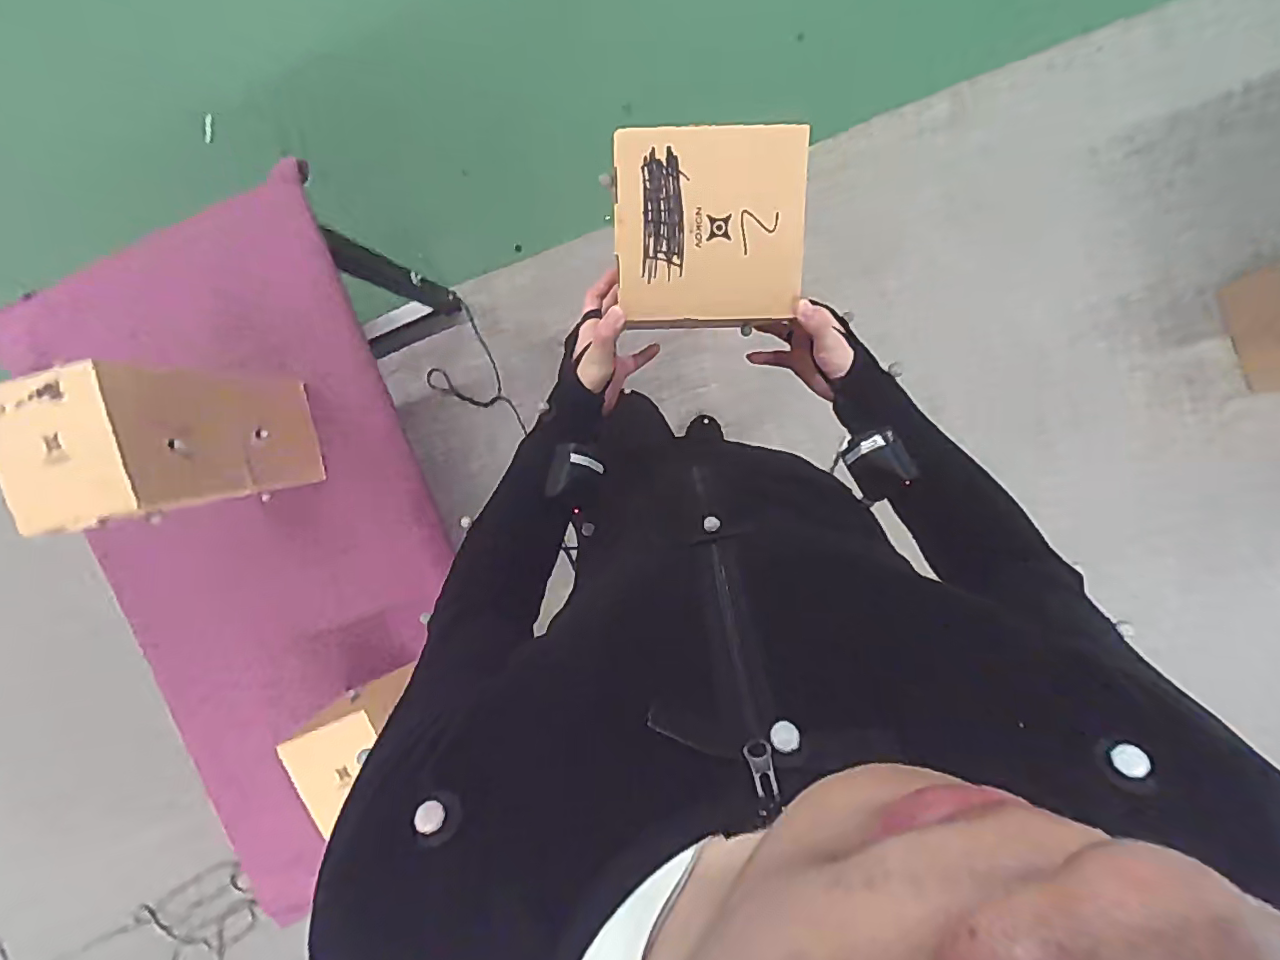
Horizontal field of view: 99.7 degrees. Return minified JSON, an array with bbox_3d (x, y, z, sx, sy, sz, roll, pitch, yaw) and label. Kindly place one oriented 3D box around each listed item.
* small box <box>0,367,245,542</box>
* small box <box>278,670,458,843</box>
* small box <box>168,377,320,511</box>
[{"bbox_3d":[-0.656,-0.039,0.689,0.168,0.176,0.179,-12,97,6],"label":"small box"},{"bbox_3d":[-0.438,0.442,0.899,0.168,0.176,0.179,-25,95,8],"label":"small box"},{"bbox_3d":[-0.643,-0.060,0.851,0.168,0.176,0.179,-9,96,6],"label":"small box"}]
